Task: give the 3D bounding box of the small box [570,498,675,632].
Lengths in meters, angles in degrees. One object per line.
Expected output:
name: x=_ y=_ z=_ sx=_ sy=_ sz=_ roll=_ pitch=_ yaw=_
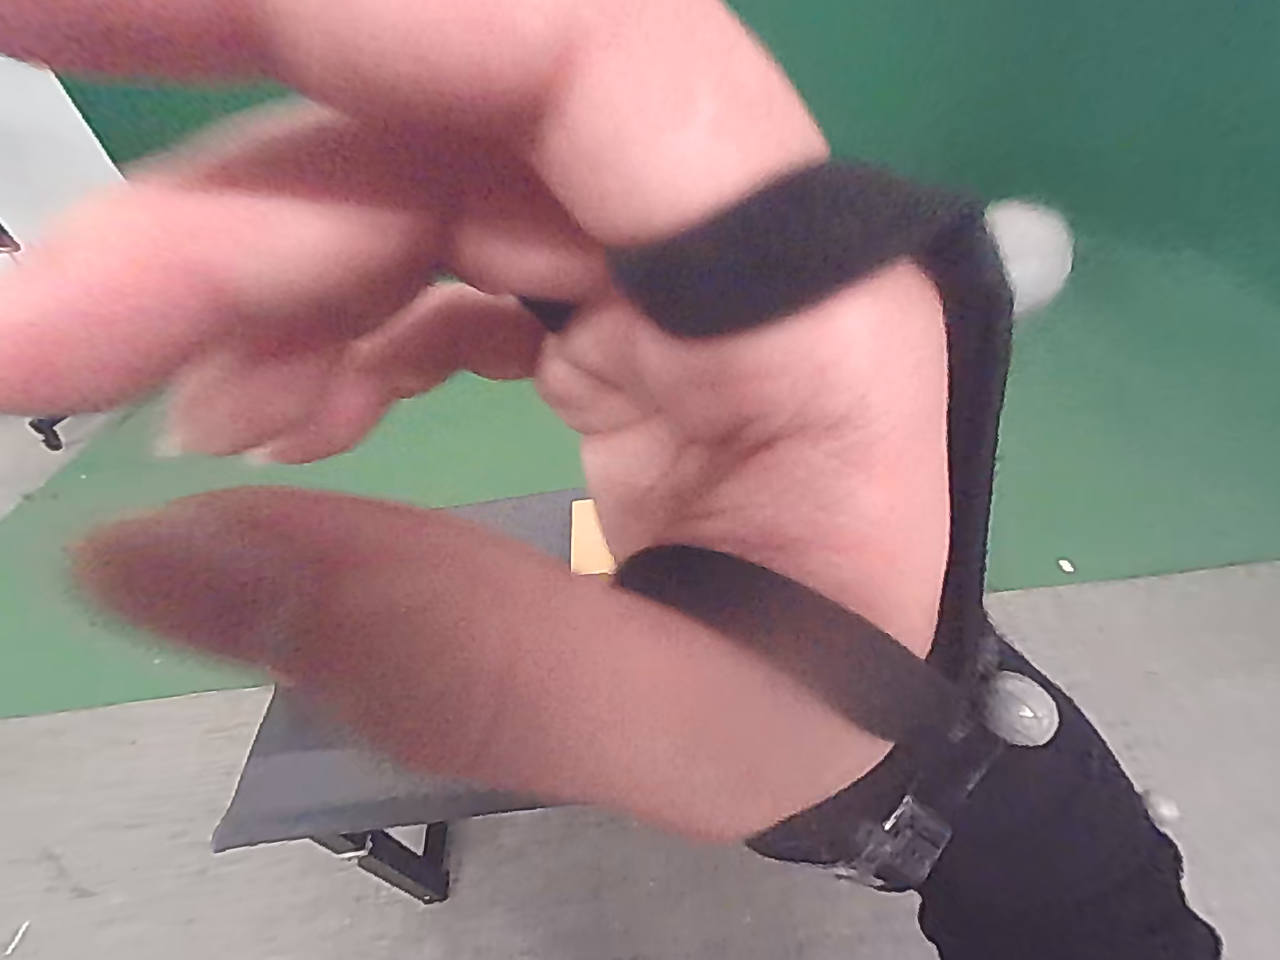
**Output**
small box: x=-0.031 y=0.159 z=0.980 sx=0.168 sy=0.176 sz=0.179 roll=-7 pitch=41 yaw=-1
